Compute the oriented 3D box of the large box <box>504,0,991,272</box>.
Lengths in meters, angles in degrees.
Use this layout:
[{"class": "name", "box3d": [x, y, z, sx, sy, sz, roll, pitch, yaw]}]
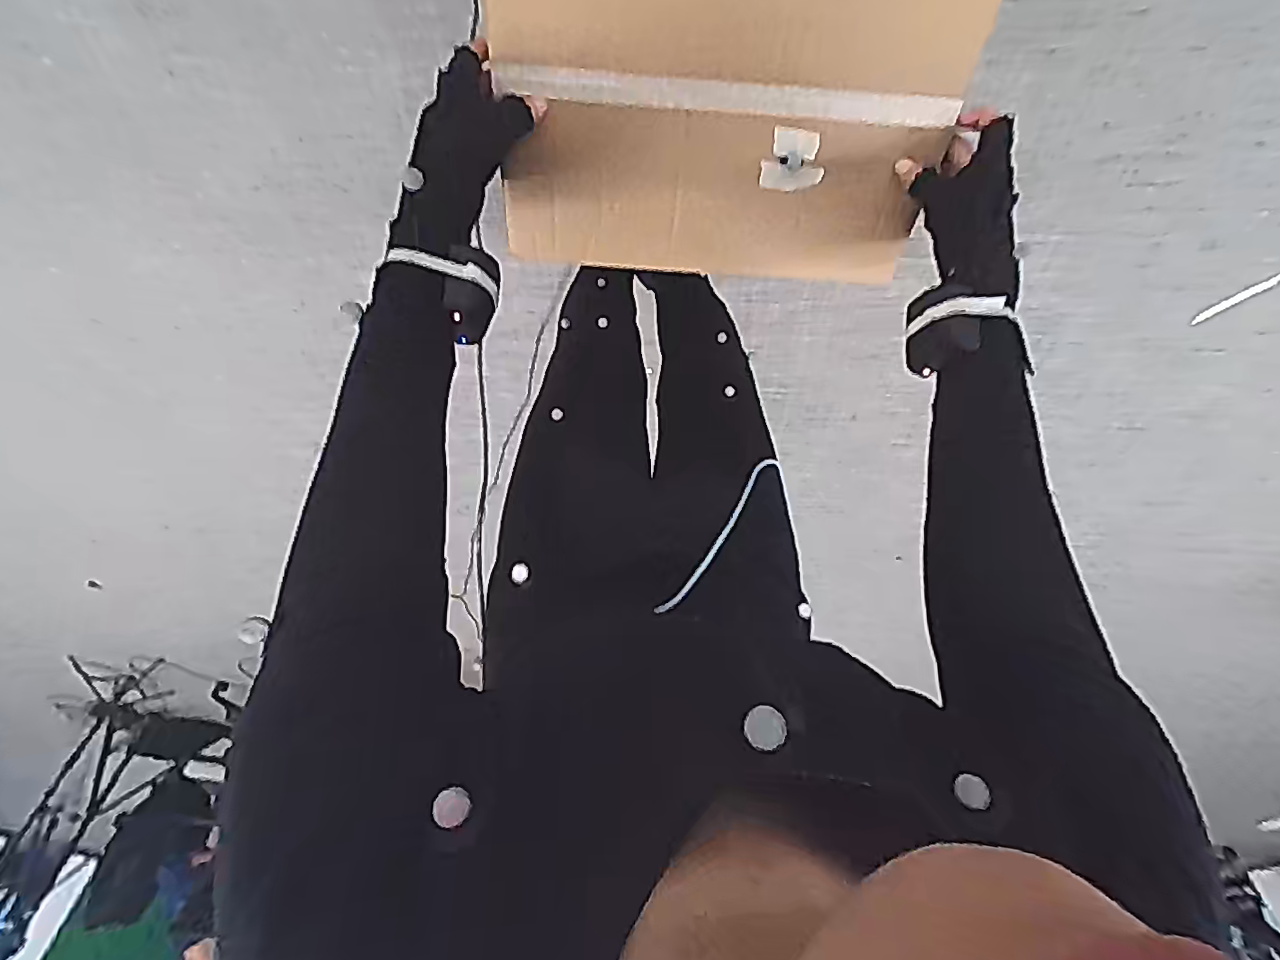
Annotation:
[{"class": "large box", "box3d": [0.080, -0.450, 0.588, 0.408, 0.320, 0.320, 3, 135, -4]}]
